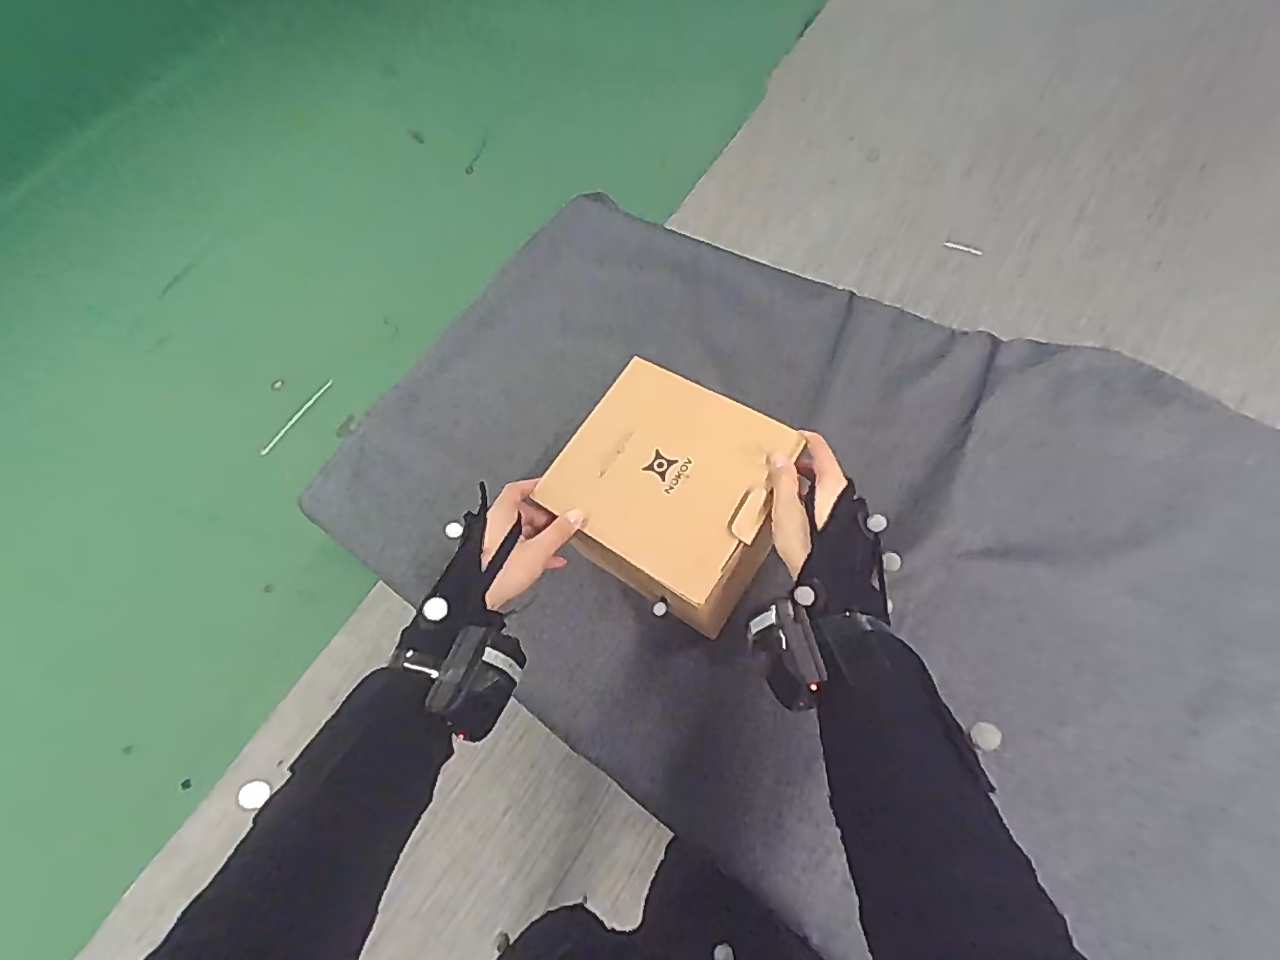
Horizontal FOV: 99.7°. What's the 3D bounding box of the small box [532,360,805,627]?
[{"bbox_3d":[0.034,0.023,0.521,0.179,0.176,0.168,29,71,22],"label":"small box"}]
